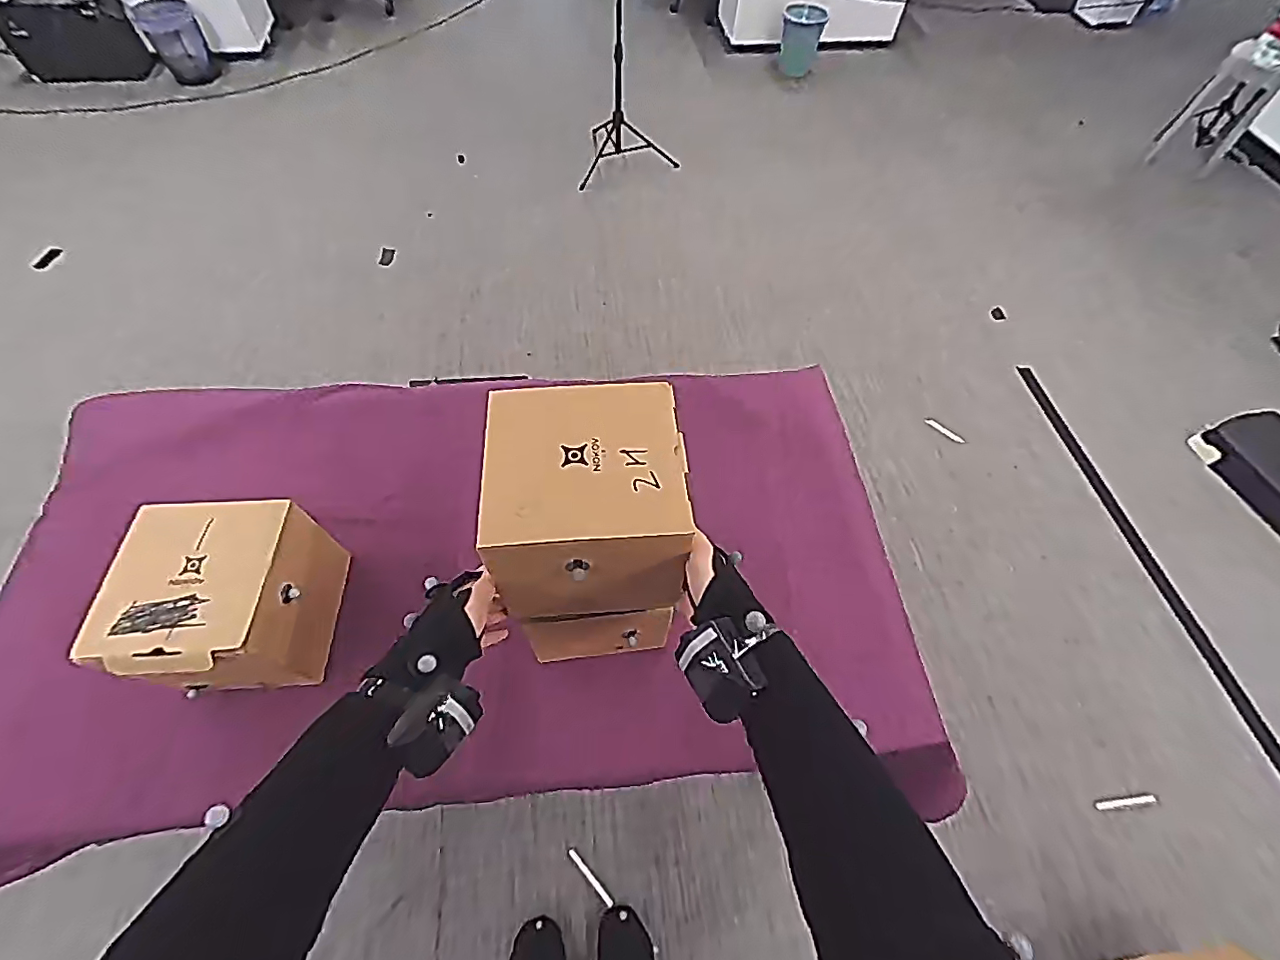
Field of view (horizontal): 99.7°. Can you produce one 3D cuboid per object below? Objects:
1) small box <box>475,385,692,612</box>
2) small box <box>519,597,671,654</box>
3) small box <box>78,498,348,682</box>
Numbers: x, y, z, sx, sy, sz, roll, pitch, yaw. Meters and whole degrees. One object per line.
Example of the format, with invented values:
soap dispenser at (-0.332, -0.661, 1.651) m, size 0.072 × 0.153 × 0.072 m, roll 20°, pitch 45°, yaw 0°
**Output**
small box at (-0.051, 0.025, 0.537) m, size 0.179 × 0.176 × 0.168 m, roll -2°, pitch 57°, yaw -4°
small box at (-0.057, 0.112, 0.680) m, size 0.168 × 0.176 × 0.179 m, roll -4°, pitch 59°, yaw -6°
small box at (-0.478, 0.138, 0.645) m, size 0.168 × 0.176 × 0.179 m, roll -1°, pitch 58°, yaw -4°
